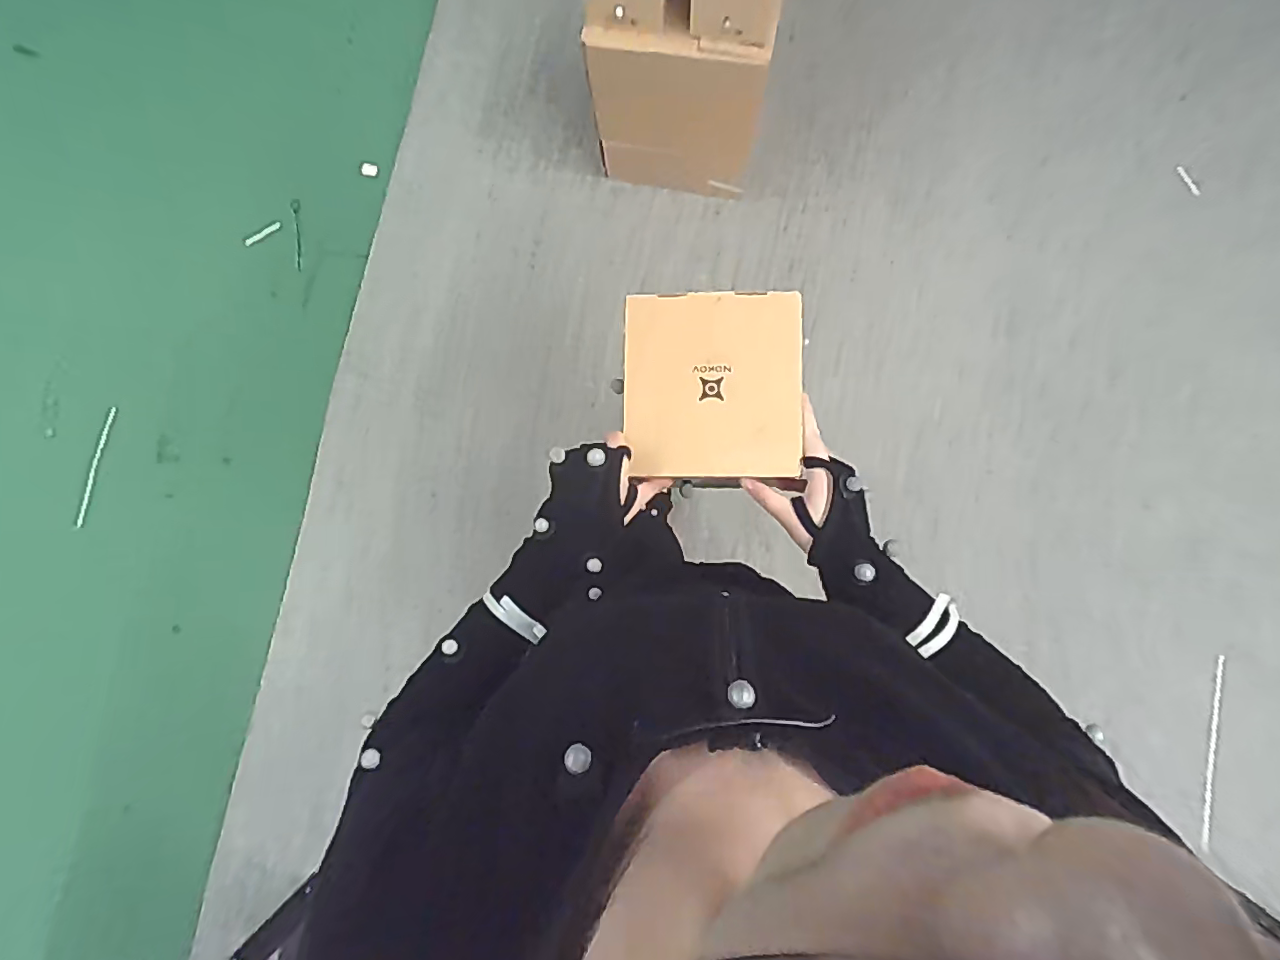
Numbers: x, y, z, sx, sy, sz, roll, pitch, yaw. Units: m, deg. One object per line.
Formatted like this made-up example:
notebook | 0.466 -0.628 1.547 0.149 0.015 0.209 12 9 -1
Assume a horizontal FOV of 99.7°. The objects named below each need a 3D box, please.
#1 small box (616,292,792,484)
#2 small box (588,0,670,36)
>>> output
small box | 0.069 -0.087 0.593 0.168 0.176 0.179 1 85 5
small box | -0.017 -1.052 1.081 0.168 0.176 0.179 12 88 2
